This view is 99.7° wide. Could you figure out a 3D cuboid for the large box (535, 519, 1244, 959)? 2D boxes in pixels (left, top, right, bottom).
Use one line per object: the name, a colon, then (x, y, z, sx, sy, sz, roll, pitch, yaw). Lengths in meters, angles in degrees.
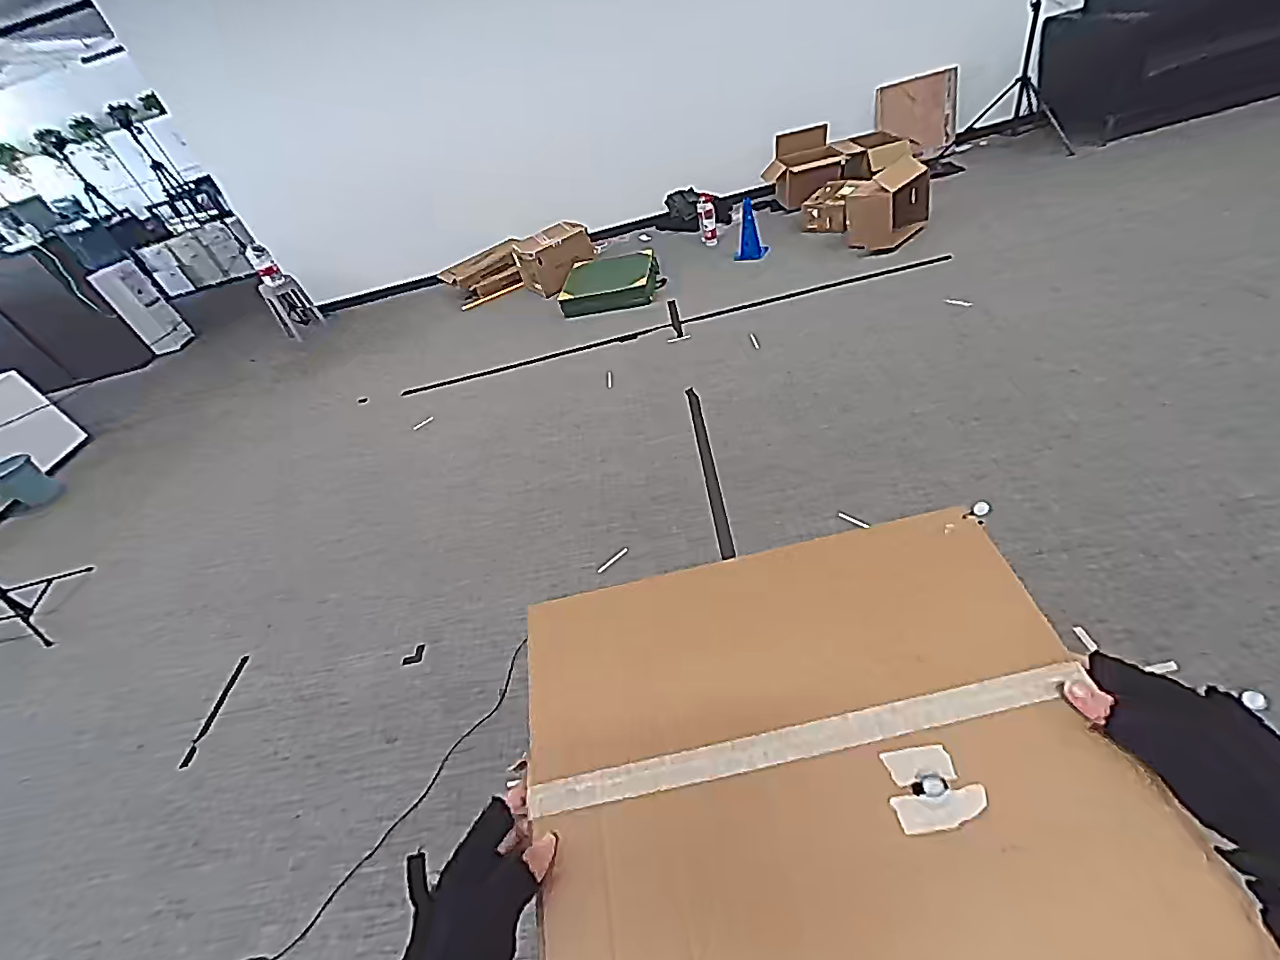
large box: (0.145, 0.289, 0.511, 0.408, 0.320, 0.320, -14, 51, 1)
